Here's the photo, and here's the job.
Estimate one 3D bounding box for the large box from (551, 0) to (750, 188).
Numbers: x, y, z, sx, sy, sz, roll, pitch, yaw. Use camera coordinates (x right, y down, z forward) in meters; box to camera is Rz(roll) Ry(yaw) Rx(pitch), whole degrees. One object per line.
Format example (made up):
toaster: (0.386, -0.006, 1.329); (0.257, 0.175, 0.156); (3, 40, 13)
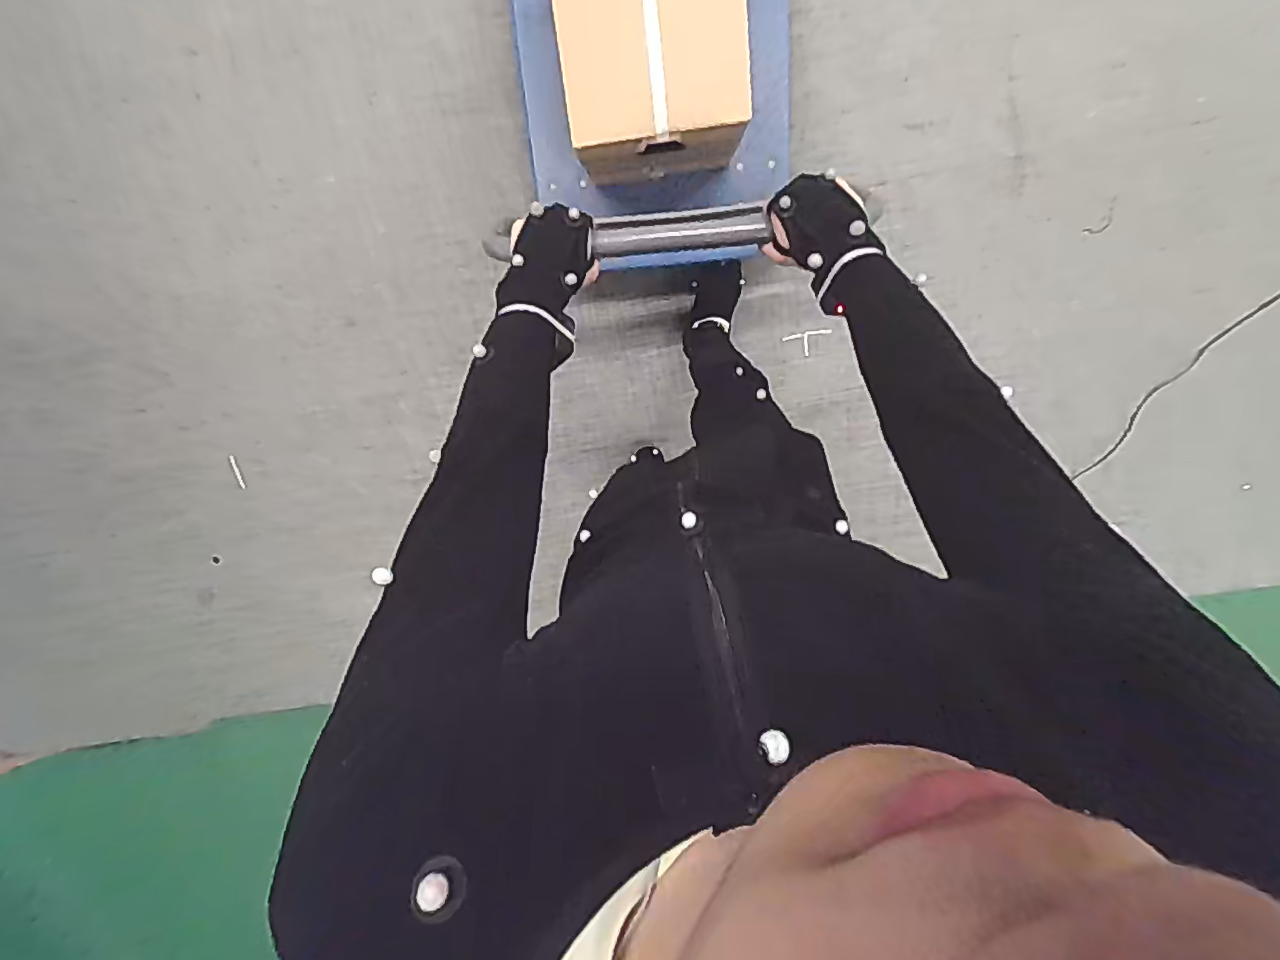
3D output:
large box: (0.019, -0.826, 1.022); (0.320, 0.320, 0.408); (-6, 107, 5)
